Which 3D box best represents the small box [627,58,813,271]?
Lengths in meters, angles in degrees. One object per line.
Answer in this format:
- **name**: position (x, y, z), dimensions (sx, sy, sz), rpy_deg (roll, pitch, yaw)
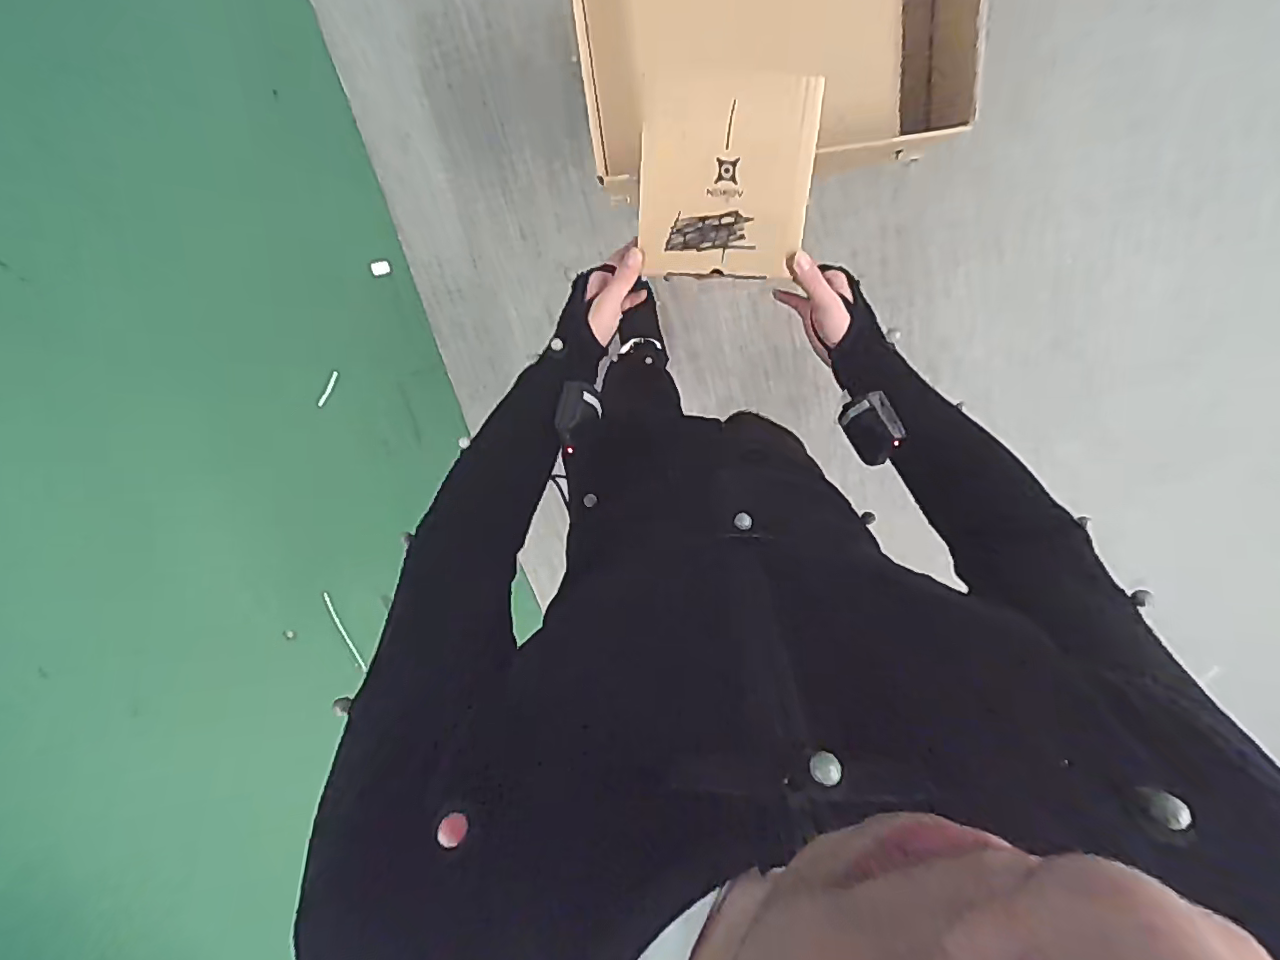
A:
- **small box**: position (0.078, -0.334, 0.596), dimensions (0.168, 0.176, 0.179), rpy_deg (4, 115, 3)
